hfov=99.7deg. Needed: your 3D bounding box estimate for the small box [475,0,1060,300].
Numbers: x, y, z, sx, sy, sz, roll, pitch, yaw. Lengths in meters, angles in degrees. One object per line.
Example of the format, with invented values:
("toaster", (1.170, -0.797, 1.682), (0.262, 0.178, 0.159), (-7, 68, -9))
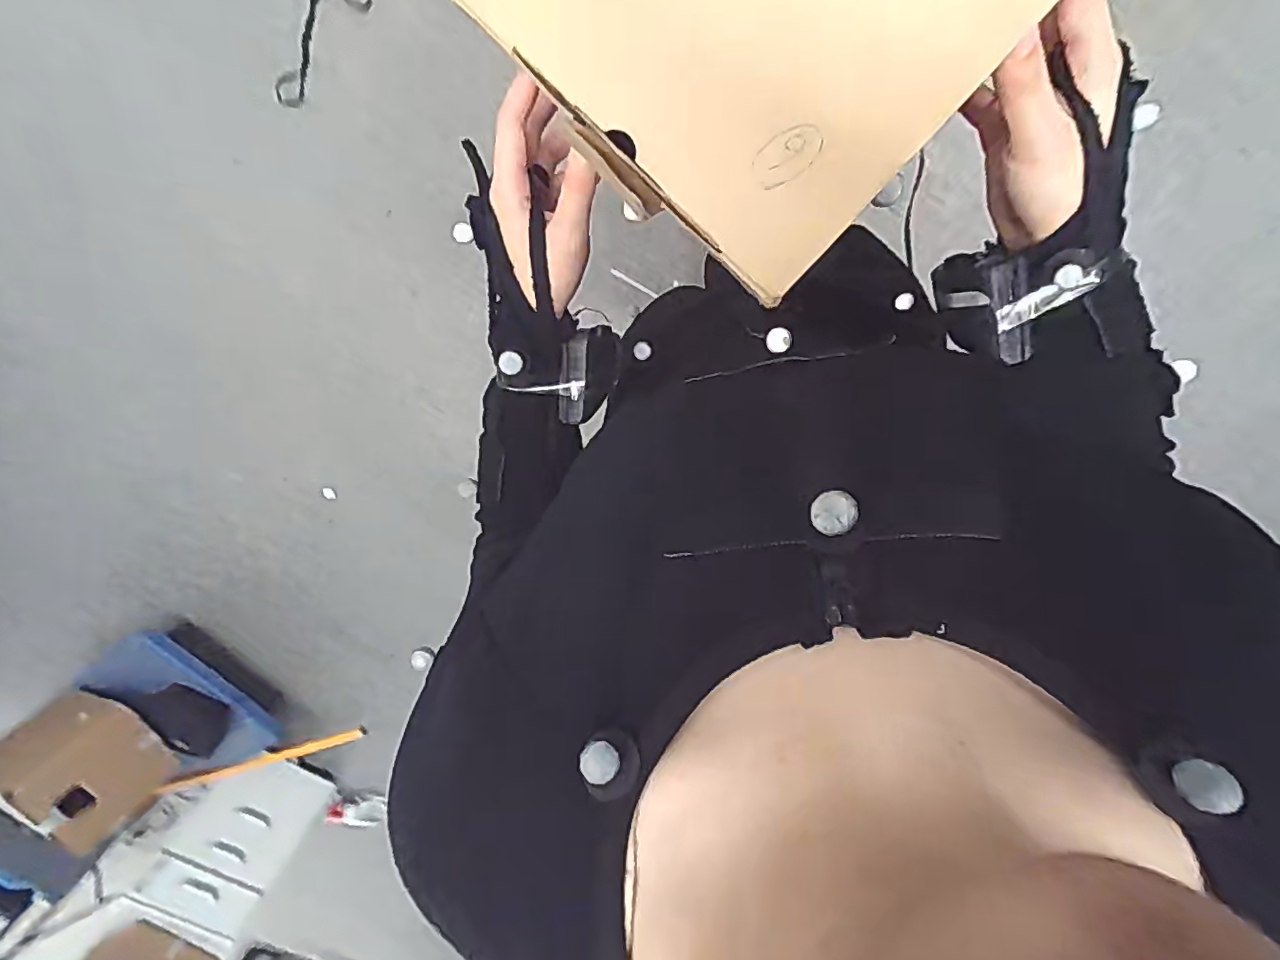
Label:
("small box", (0.064, -0.211, 0.258), (0.168, 0.176, 0.179), (41, 112, -7))
